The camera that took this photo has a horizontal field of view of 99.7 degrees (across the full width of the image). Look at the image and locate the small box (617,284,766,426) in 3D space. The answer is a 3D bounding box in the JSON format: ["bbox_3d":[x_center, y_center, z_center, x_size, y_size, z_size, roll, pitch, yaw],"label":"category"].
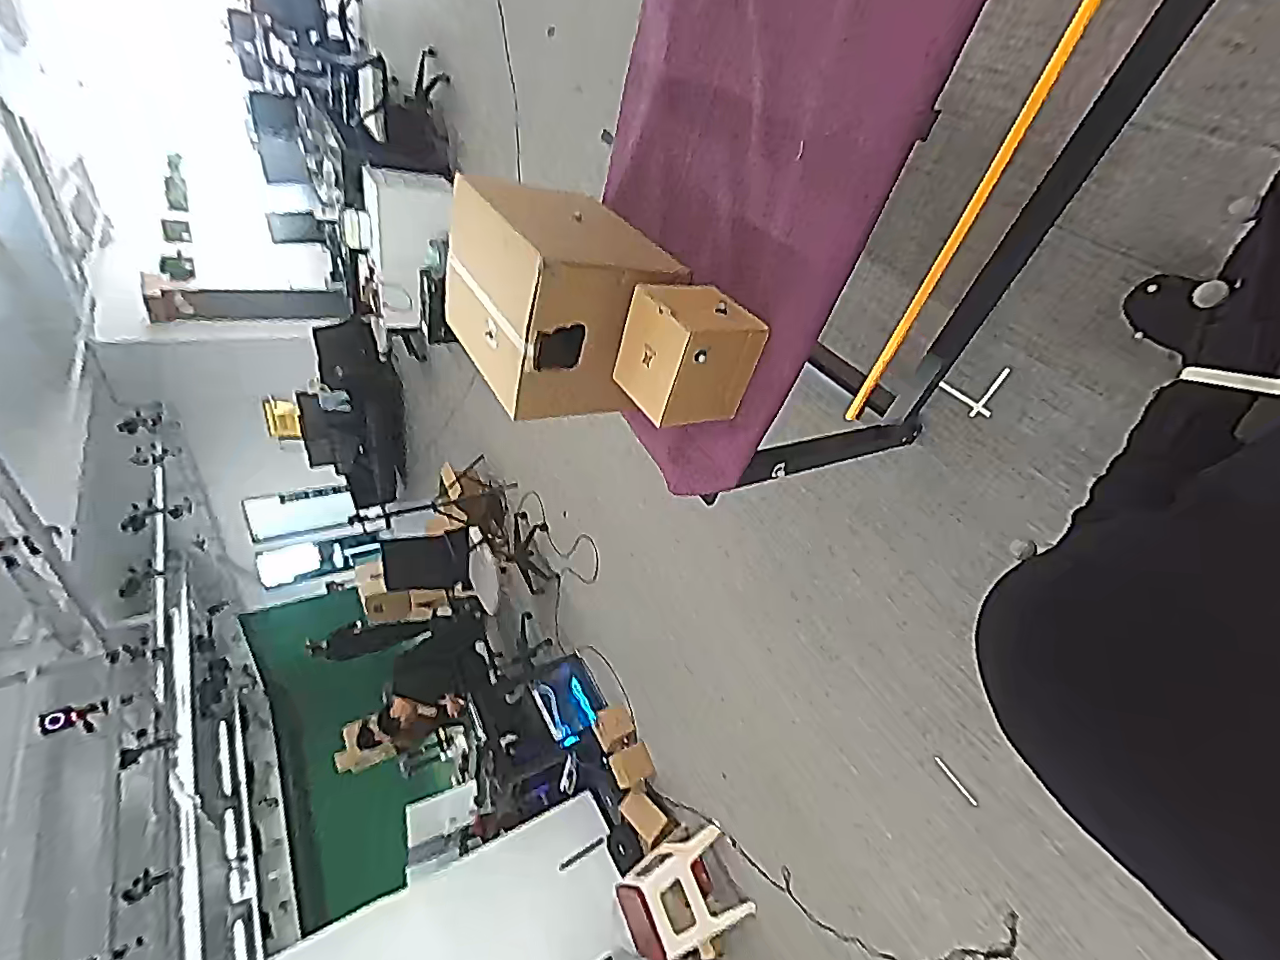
[{"bbox_3d":[0.085,-0.215,0.924,0.168,0.176,0.179,52,139,37],"label":"small box"}]

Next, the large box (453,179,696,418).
[{"bbox_3d":[-0.157,-0.377,1.115,0.408,0.320,0.320,50,137,34],"label":"large box"}]
